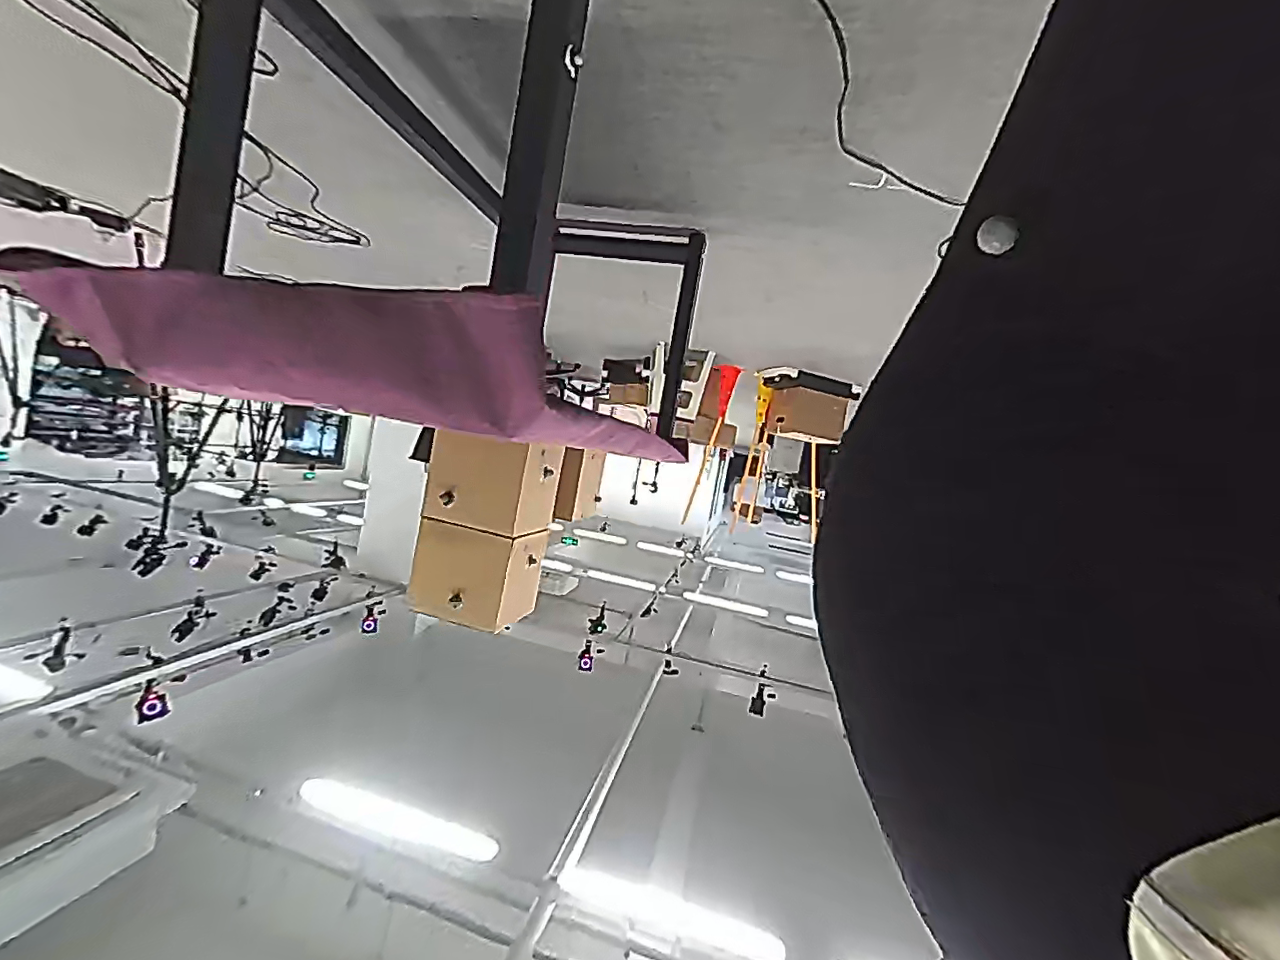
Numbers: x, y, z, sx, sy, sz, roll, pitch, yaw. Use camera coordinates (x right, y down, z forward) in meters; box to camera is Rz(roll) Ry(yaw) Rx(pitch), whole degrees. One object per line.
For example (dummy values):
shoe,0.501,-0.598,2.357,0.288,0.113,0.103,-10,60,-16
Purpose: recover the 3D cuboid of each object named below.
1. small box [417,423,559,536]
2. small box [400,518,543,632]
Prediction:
small box,-0.262,-0.007,0.965,0.179,0.176,0.168,11,-176,11
small box,-0.295,0.152,0.975,0.179,0.176,0.168,11,-177,12
